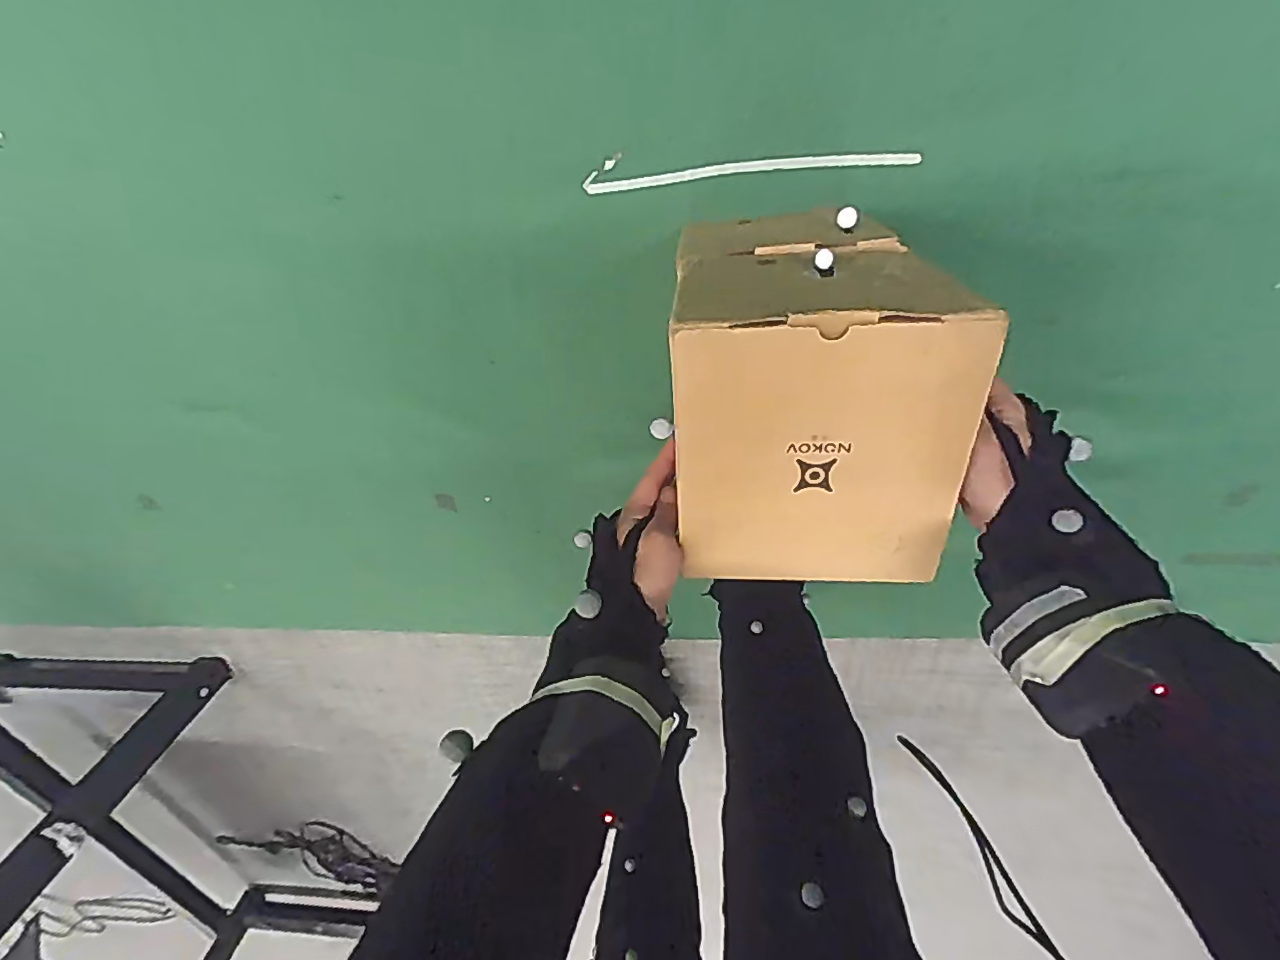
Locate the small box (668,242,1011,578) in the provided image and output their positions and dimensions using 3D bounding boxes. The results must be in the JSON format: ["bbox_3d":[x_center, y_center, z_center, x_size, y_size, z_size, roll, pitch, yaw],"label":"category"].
[{"bbox_3d":[0.110,-0.055,0.375,0.168,0.176,0.179,0,122,8],"label":"small box"}]
